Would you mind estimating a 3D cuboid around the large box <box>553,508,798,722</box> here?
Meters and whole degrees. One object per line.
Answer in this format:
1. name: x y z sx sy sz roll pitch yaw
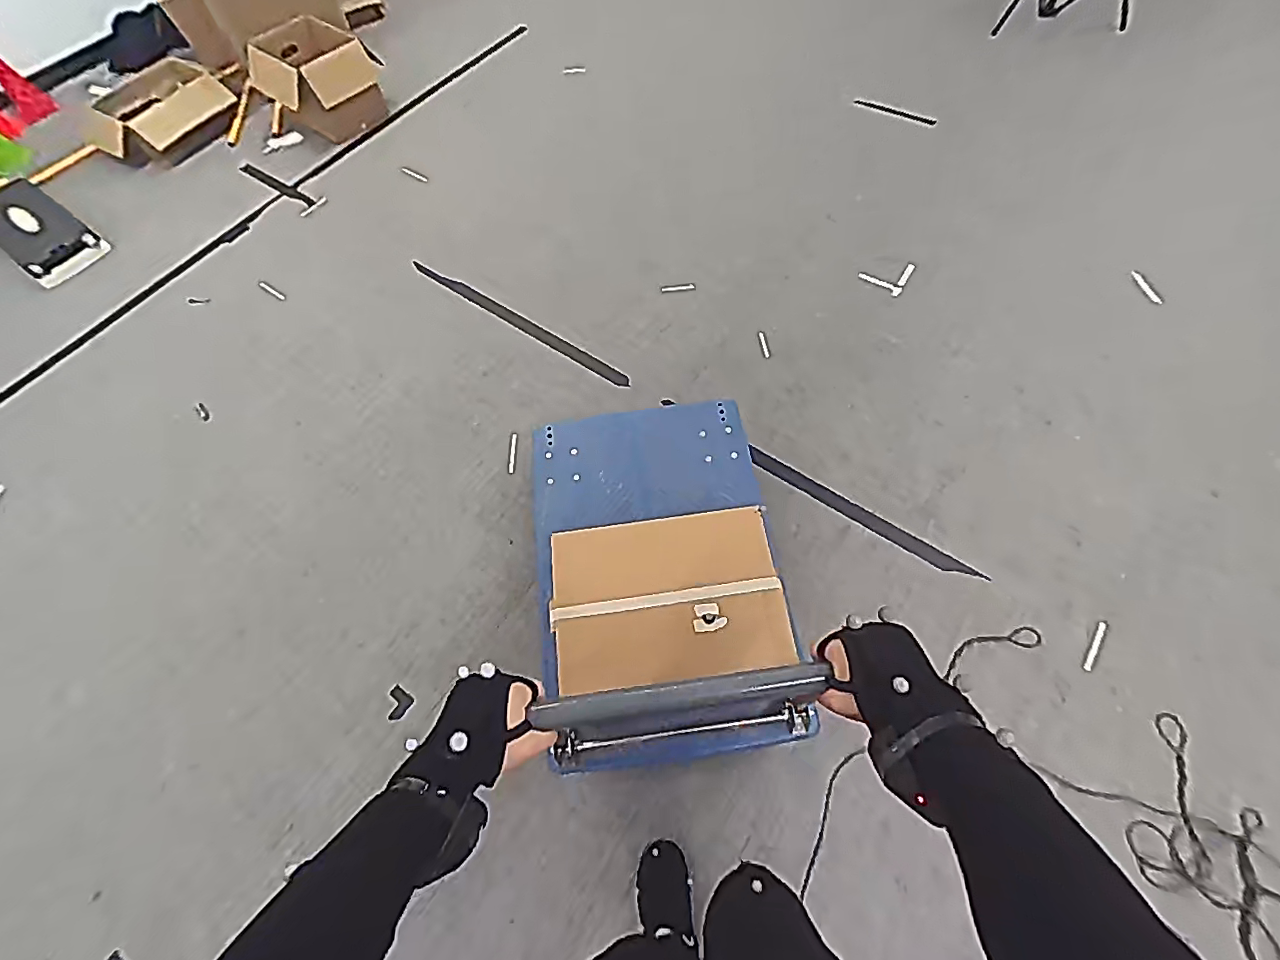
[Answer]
1. large box: 0.055 0.285 1.098 0.408 0.320 0.320 -8 62 -2
